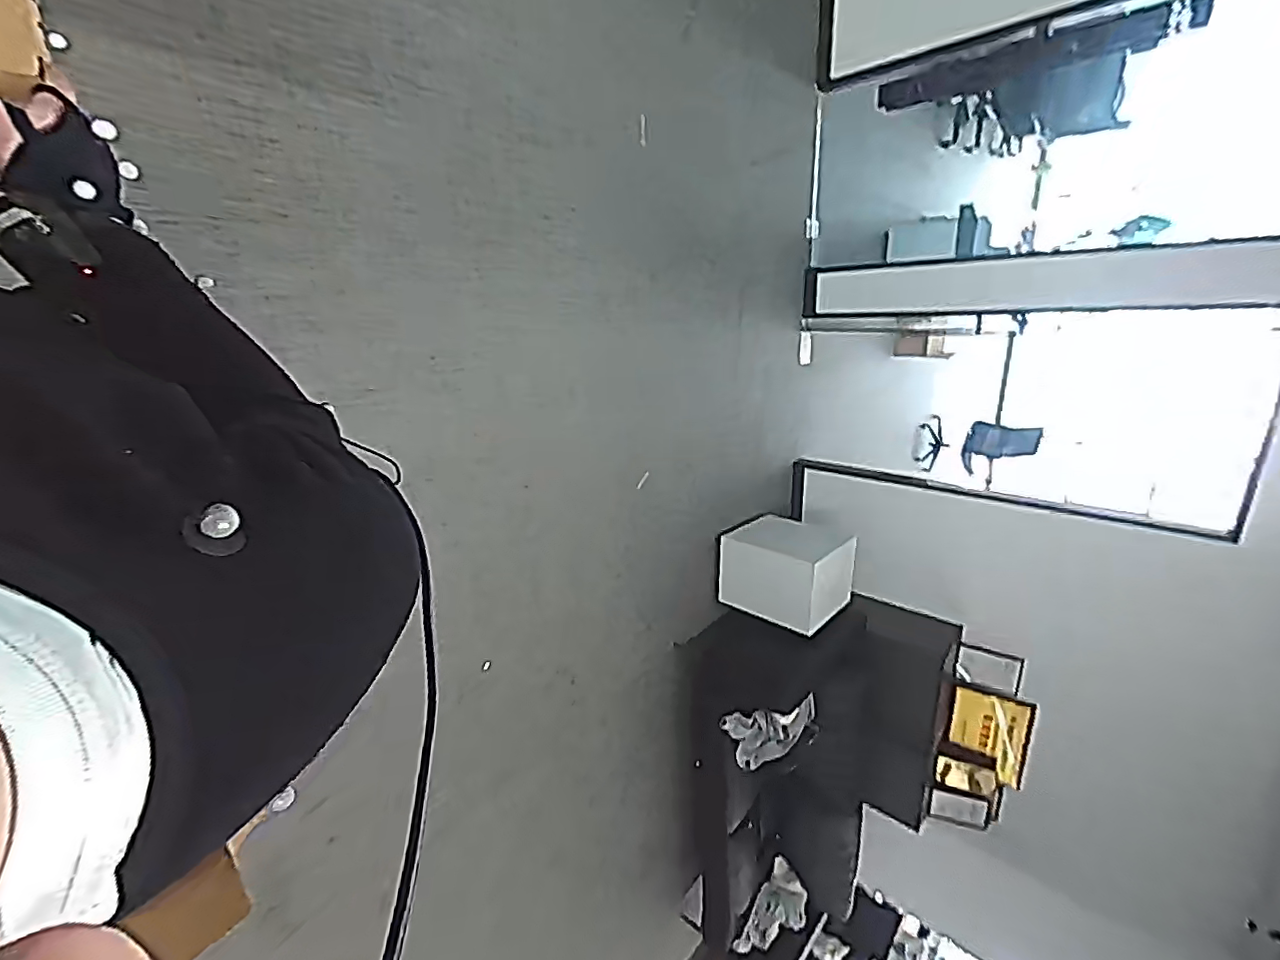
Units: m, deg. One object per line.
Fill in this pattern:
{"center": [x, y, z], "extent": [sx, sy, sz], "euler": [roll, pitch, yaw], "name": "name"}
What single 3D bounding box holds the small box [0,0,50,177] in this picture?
{"center": [-0.605, -0.370, 0.427], "extent": [0.179, 0.176, 0.168], "euler": [-7, 95, -43], "name": "small box"}
